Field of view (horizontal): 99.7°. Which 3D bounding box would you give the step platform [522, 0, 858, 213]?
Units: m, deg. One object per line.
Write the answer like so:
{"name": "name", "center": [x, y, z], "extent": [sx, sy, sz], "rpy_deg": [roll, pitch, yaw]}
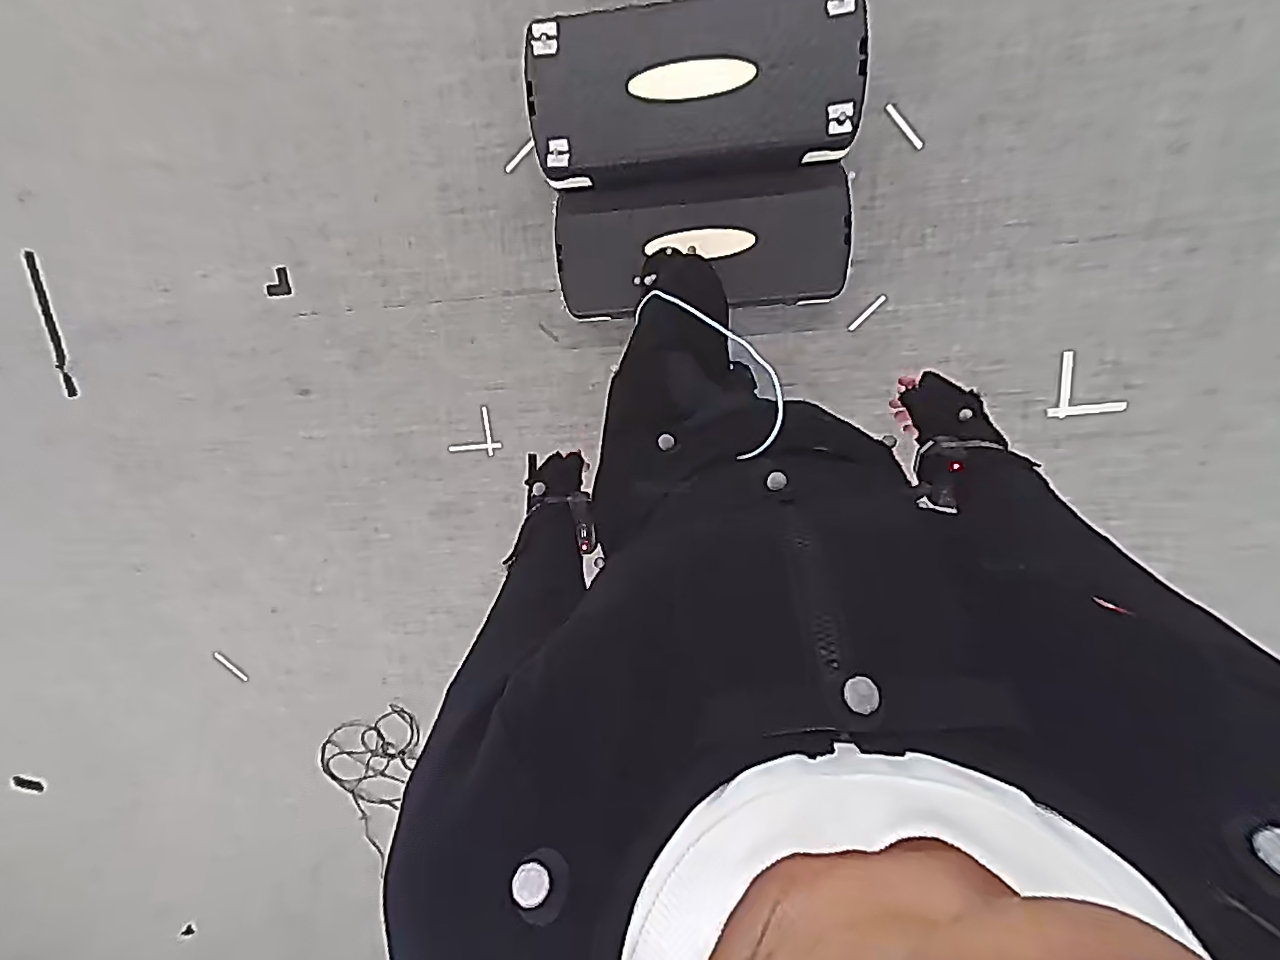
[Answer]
{"name": "step platform", "center": [0.097, -0.775, 1.152], "extent": [0.684, 0.204, 0.286], "rpy_deg": [-4, 106, 6]}
